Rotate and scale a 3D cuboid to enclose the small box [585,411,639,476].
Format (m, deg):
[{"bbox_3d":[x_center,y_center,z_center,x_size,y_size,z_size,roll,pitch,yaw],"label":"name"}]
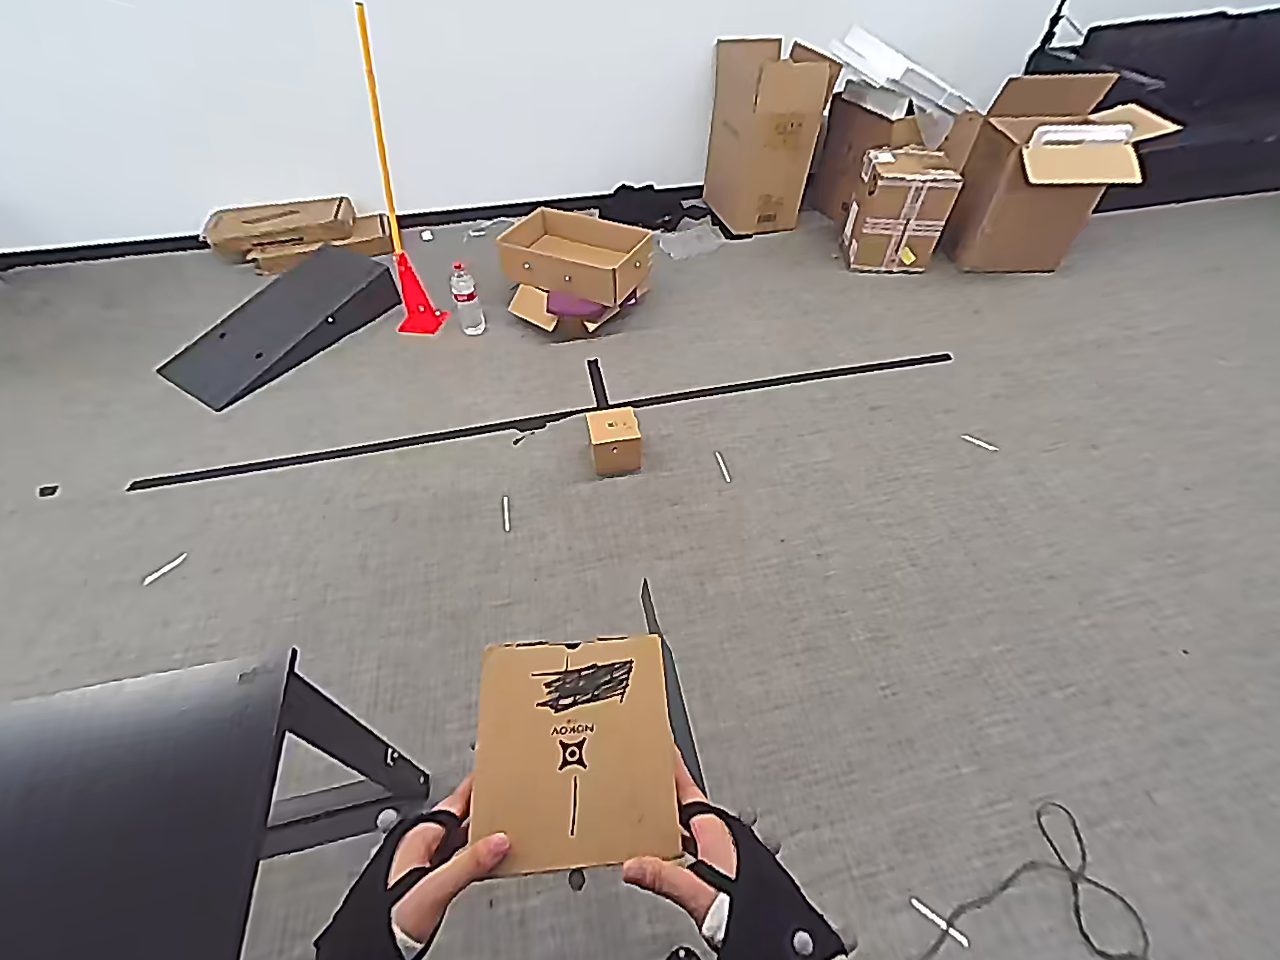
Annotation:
[{"bbox_3d":[-0.101,-0.130,1.990,0.179,0.176,0.168,-9,50,-8],"label":"small box"}]

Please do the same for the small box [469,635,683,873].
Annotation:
[{"bbox_3d":[-0.057,0.265,0.521,0.168,0.176,0.179,-2,55,-4],"label":"small box"}]
